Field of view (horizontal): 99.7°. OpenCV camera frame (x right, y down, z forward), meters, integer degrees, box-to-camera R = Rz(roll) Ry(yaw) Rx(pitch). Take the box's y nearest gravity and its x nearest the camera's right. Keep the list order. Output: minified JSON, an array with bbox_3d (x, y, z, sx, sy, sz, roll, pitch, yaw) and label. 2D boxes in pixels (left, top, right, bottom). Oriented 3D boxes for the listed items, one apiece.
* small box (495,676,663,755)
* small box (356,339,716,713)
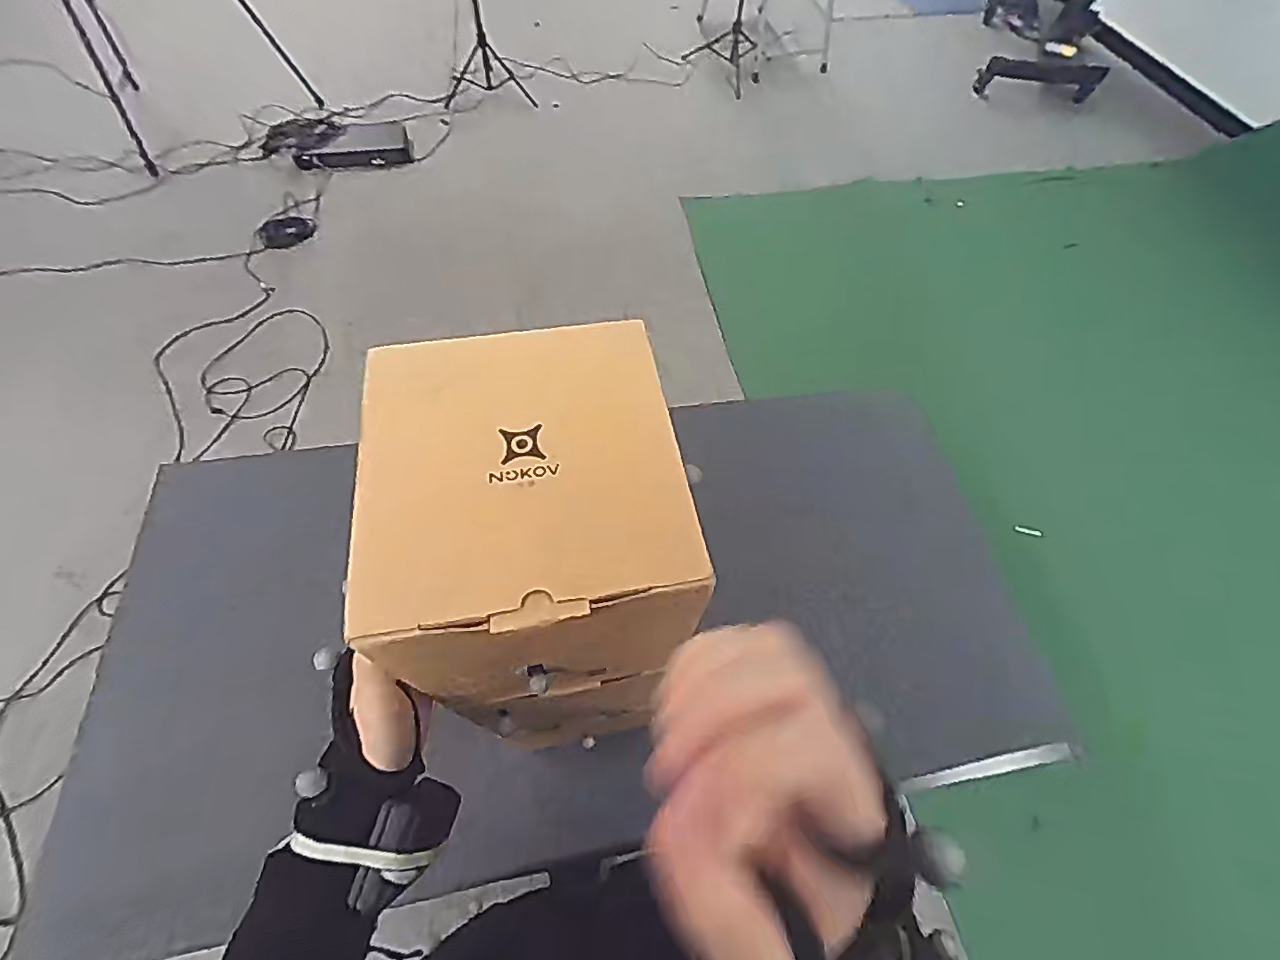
[{"bbox_3d":[-0.076,0.206,0.633,0.168,0.176,0.179,-9,60,-8],"label":"small box"},{"bbox_3d":[-0.063,0.036,0.355,0.168,0.176,0.179,-8,60,-8],"label":"small box"}]
